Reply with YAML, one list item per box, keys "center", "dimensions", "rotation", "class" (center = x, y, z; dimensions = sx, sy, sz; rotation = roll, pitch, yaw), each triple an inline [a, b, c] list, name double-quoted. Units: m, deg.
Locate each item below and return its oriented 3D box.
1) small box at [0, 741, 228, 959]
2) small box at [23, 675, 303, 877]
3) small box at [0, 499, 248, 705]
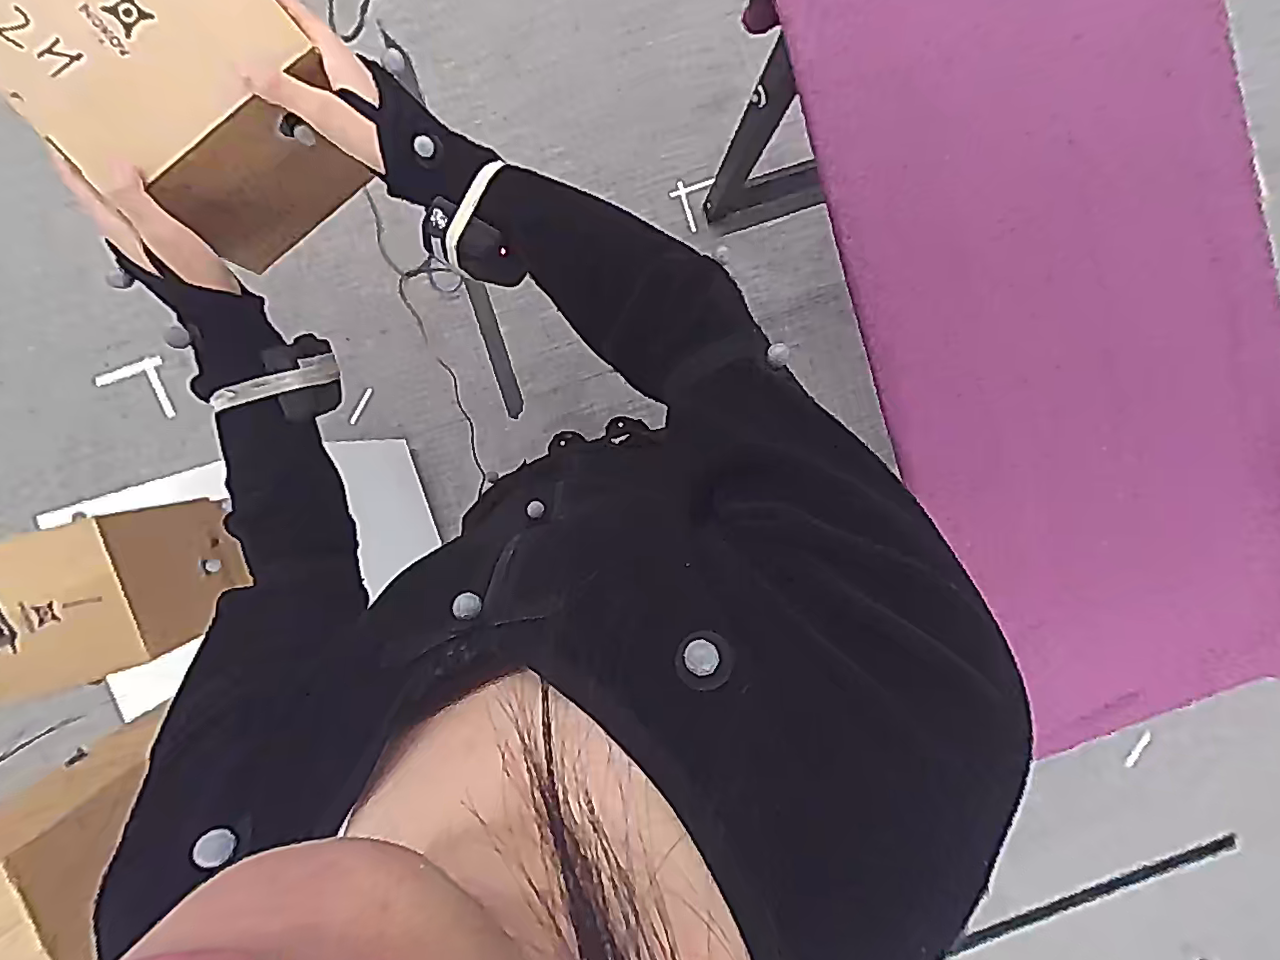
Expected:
- center: [-0.542, 0.380, 0.495]
  dimensions: [0.179, 0.176, 0.168]
  rotation: [-19, 97, -2]
  class: "small box"
- center: [-0.550, 0.366, 0.656]
  dimensions: [0.179, 0.176, 0.168]
  rotation: [-19, 96, -1]
  class: "small box"
- center: [-0.616, 0.128, 0.629]
  dimensions: [0.179, 0.176, 0.168]
  rotation: [-16, 97, -3]
  class: "small box"
